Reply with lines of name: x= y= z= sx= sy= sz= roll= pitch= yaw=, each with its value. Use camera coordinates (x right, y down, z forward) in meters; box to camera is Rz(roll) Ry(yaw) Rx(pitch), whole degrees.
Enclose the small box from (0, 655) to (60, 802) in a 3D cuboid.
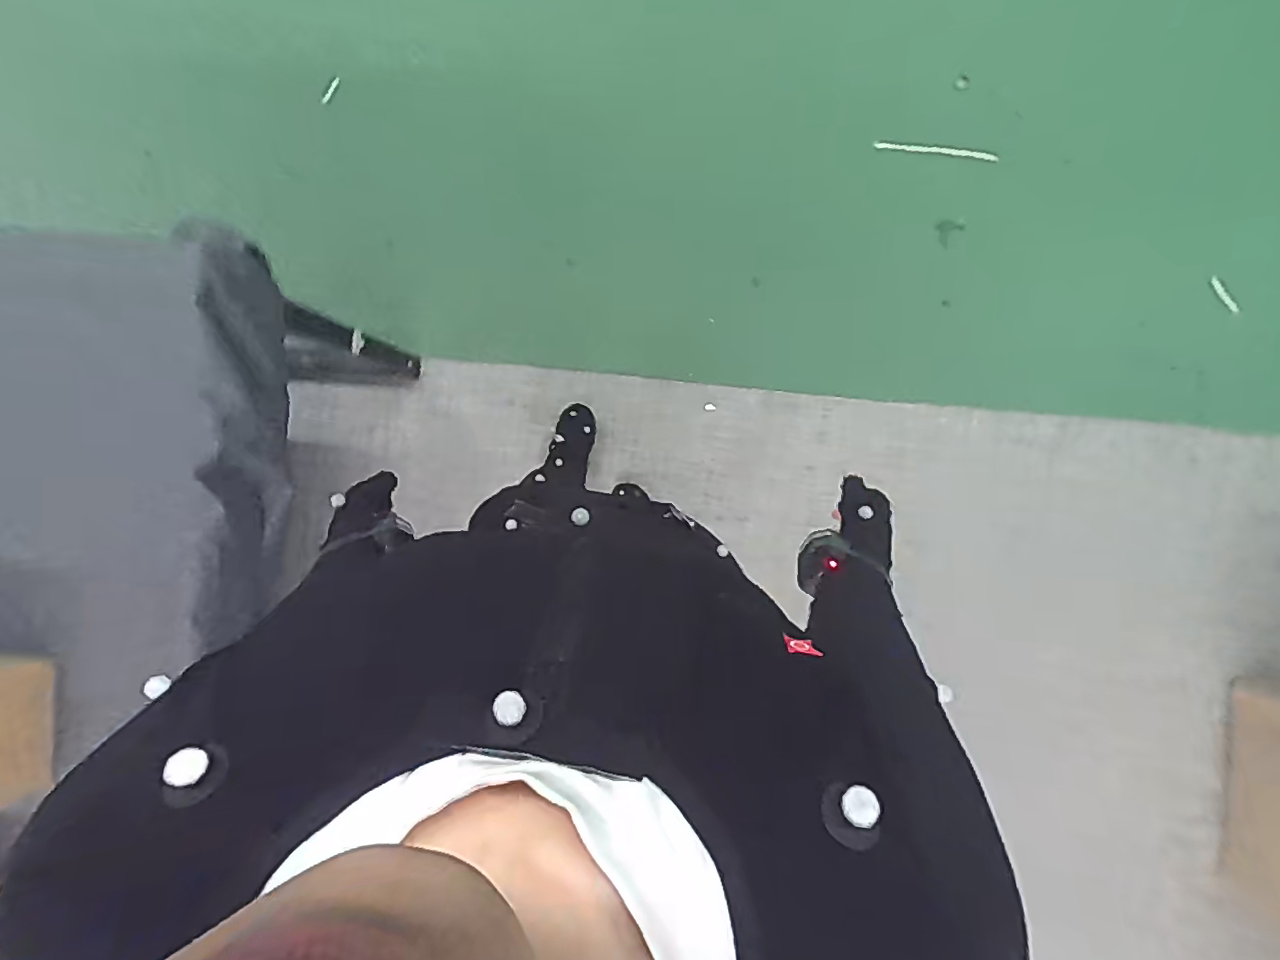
small box: x=-0.914 y=0.340 z=0.697 sx=0.168 sy=0.176 sz=0.179 roll=3 pitch=91 yaw=2
